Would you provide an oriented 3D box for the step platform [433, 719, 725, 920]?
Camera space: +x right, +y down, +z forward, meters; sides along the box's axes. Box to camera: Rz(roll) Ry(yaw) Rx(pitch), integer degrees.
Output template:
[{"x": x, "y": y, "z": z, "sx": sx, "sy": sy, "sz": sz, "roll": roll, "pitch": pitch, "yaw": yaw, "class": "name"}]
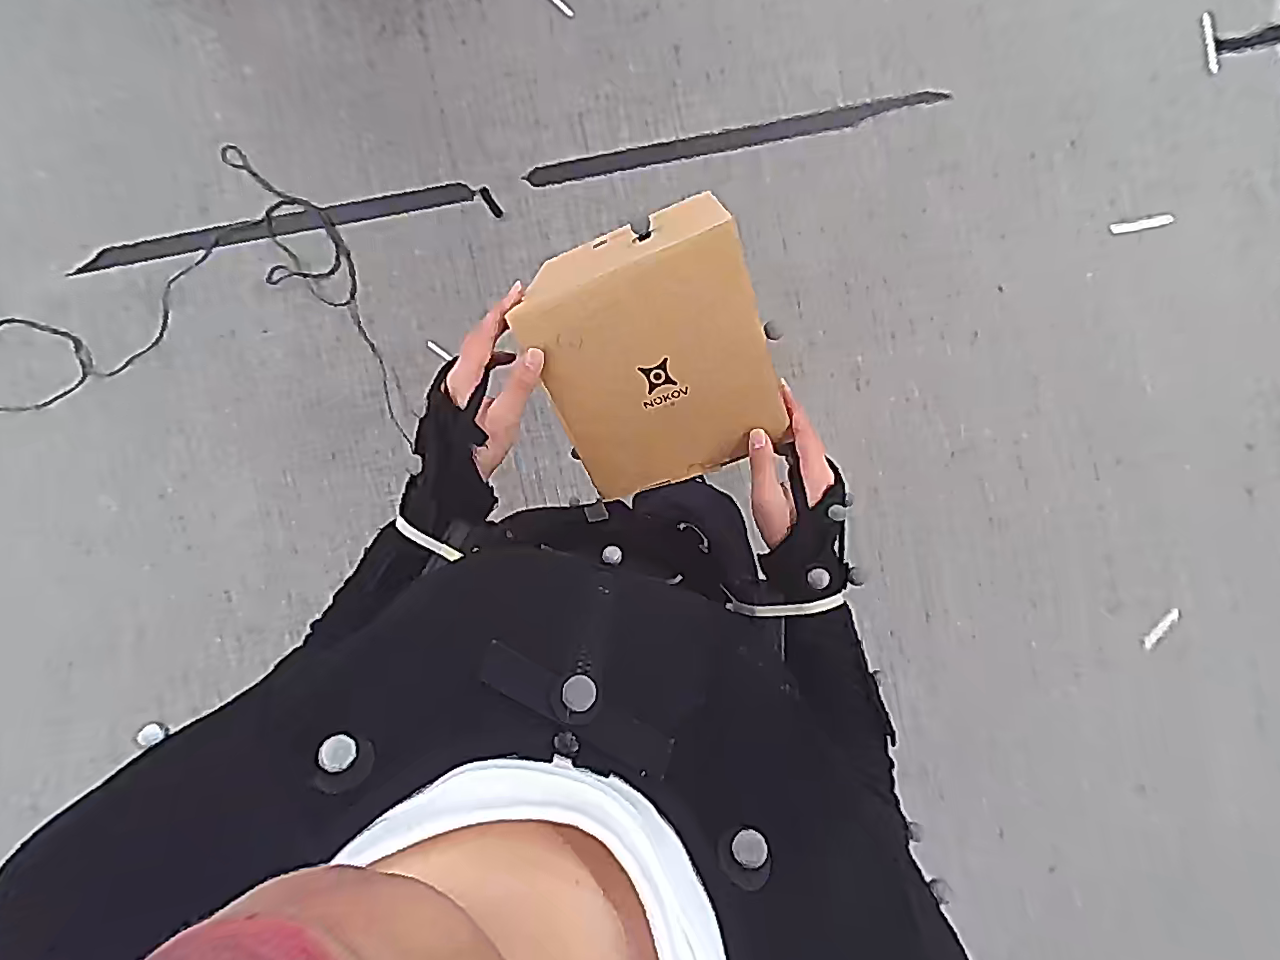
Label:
[{"x": -0.140, "y": 0.813, "z": 1.311, "sx": 0.684, "sy": 0.204, "sz": 0.286, "roll": -11, "pitch": 93, "yaw": 0, "class": "step platform"}]
